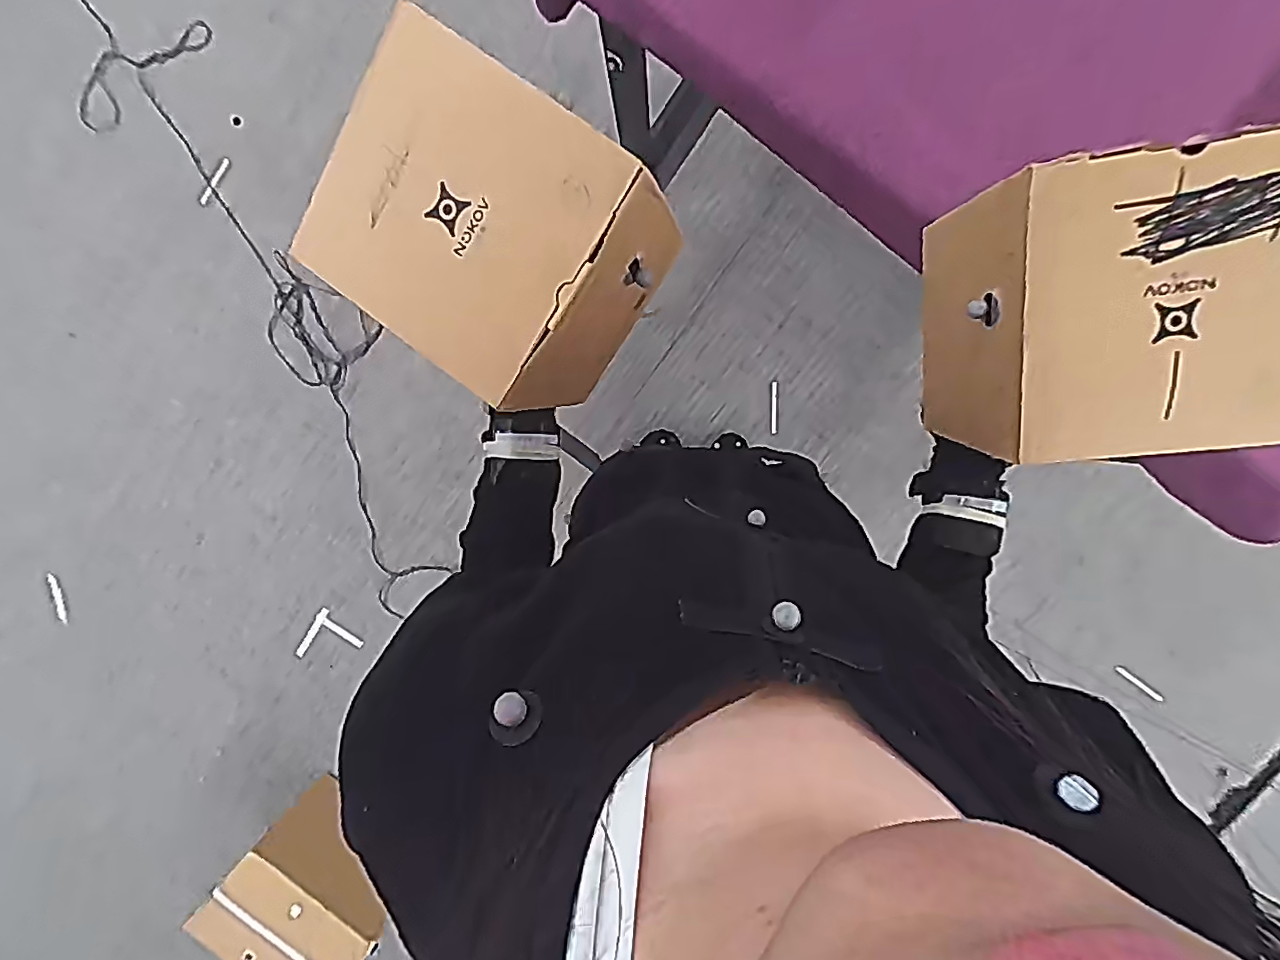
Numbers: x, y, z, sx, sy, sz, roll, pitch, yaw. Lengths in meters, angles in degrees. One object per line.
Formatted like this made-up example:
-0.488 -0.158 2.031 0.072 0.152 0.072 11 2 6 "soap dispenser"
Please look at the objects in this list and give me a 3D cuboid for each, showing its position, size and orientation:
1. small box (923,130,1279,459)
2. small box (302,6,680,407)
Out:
0.322 -0.120 0.394 0.168 0.176 0.179 -5 103 9 "small box"
-0.088 -0.172 0.400 0.179 0.176 0.168 36 104 5 "small box"
